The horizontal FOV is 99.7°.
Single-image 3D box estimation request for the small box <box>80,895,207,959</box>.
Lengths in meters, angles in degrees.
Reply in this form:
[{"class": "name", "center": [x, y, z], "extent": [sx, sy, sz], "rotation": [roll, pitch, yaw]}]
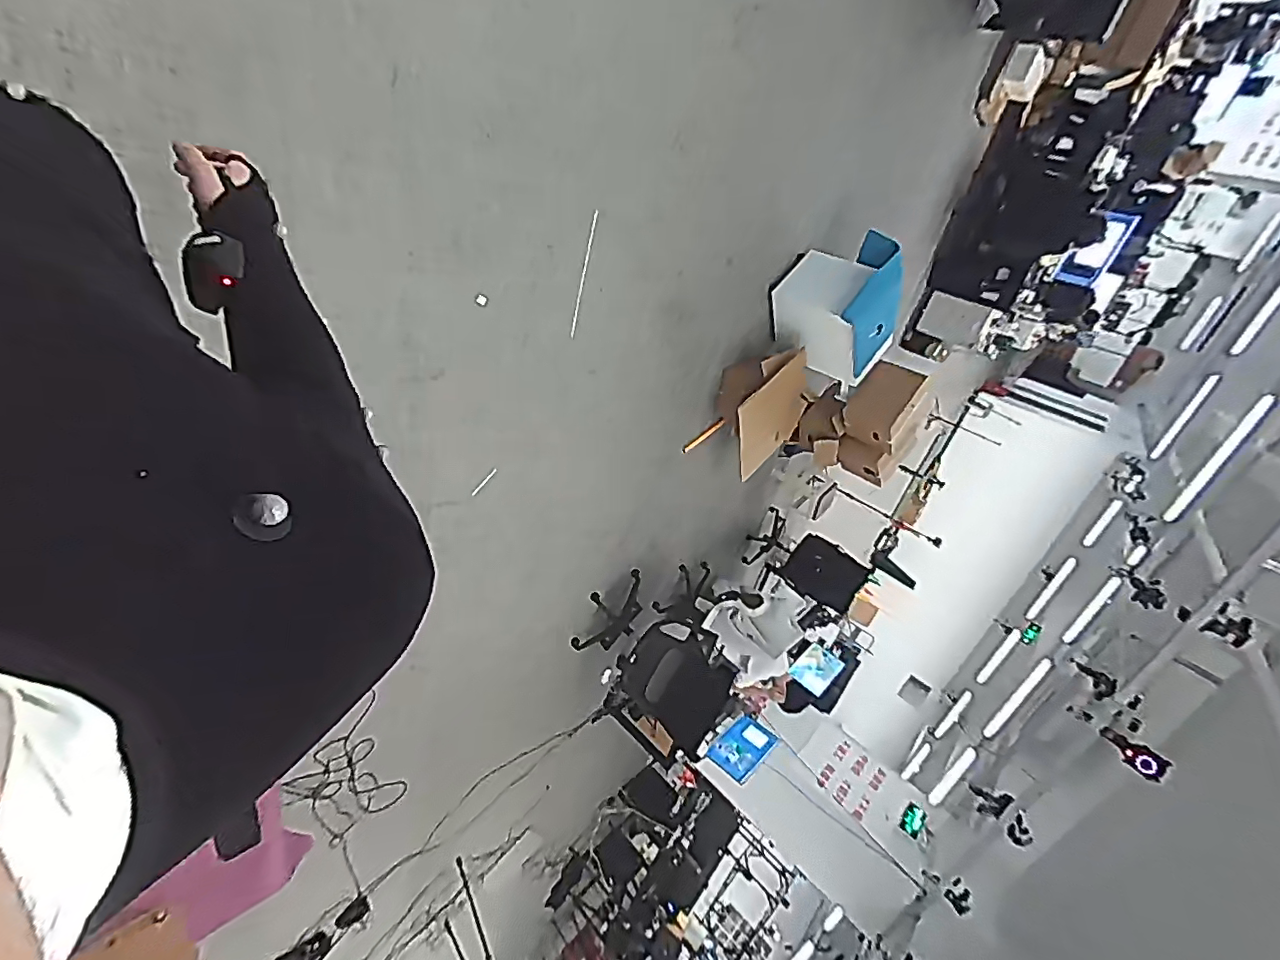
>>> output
[{"class": "small box", "center": [-1.010, 1.013, 1.113], "extent": [0.168, 0.176, 0.179], "rotation": [-17, 132, -46]}]
